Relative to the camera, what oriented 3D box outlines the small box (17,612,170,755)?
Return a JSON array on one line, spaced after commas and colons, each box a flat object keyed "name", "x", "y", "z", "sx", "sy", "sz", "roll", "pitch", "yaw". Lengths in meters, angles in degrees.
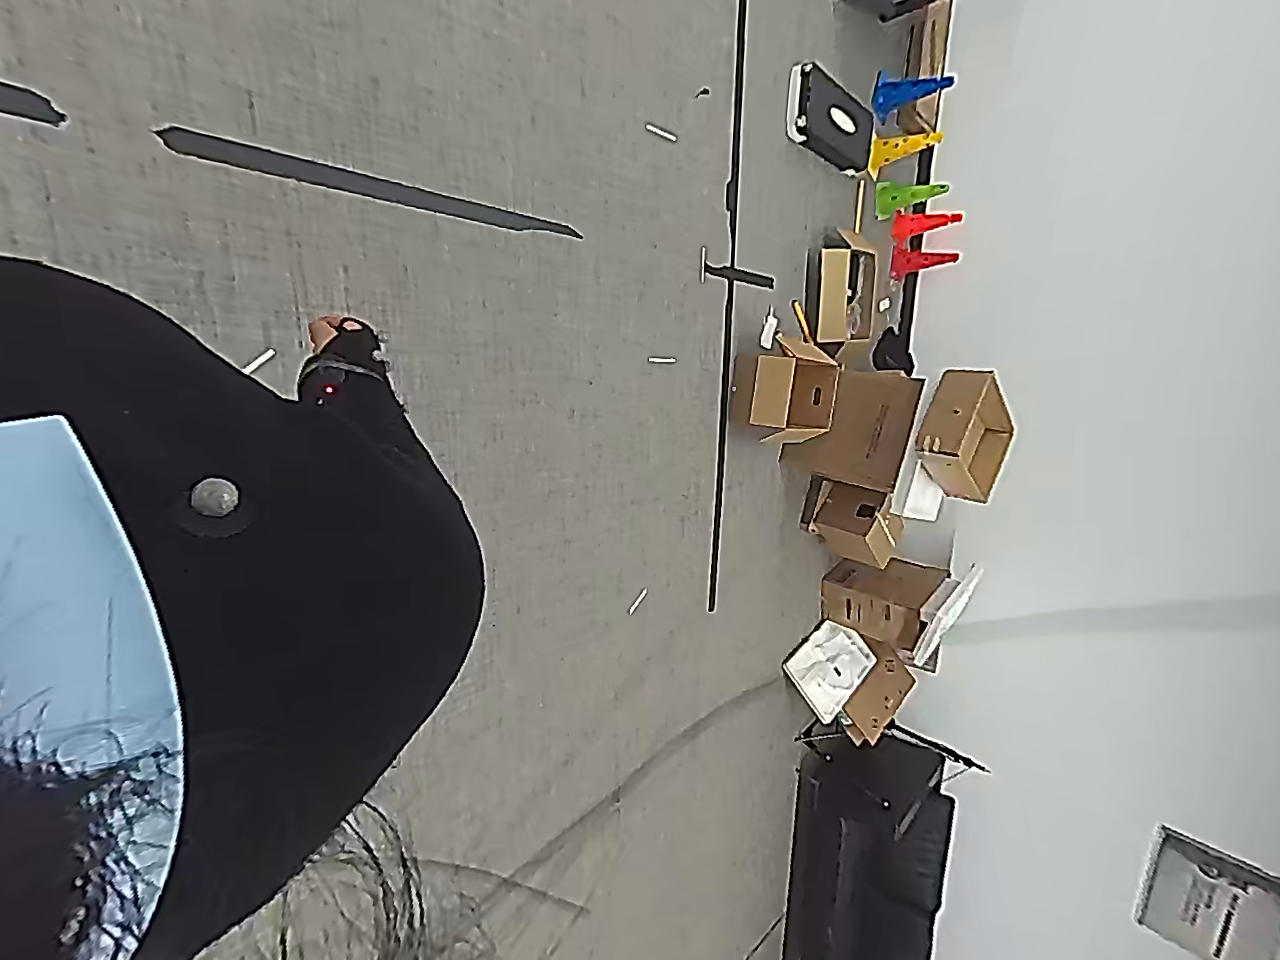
[{"name": "small box", "x": -1.083, "y": 0.396, "z": 1.082, "sx": 0.168, "sy": 0.176, "sz": 0.179, "roll": -25, "pitch": 117, "yaw": -40}]
